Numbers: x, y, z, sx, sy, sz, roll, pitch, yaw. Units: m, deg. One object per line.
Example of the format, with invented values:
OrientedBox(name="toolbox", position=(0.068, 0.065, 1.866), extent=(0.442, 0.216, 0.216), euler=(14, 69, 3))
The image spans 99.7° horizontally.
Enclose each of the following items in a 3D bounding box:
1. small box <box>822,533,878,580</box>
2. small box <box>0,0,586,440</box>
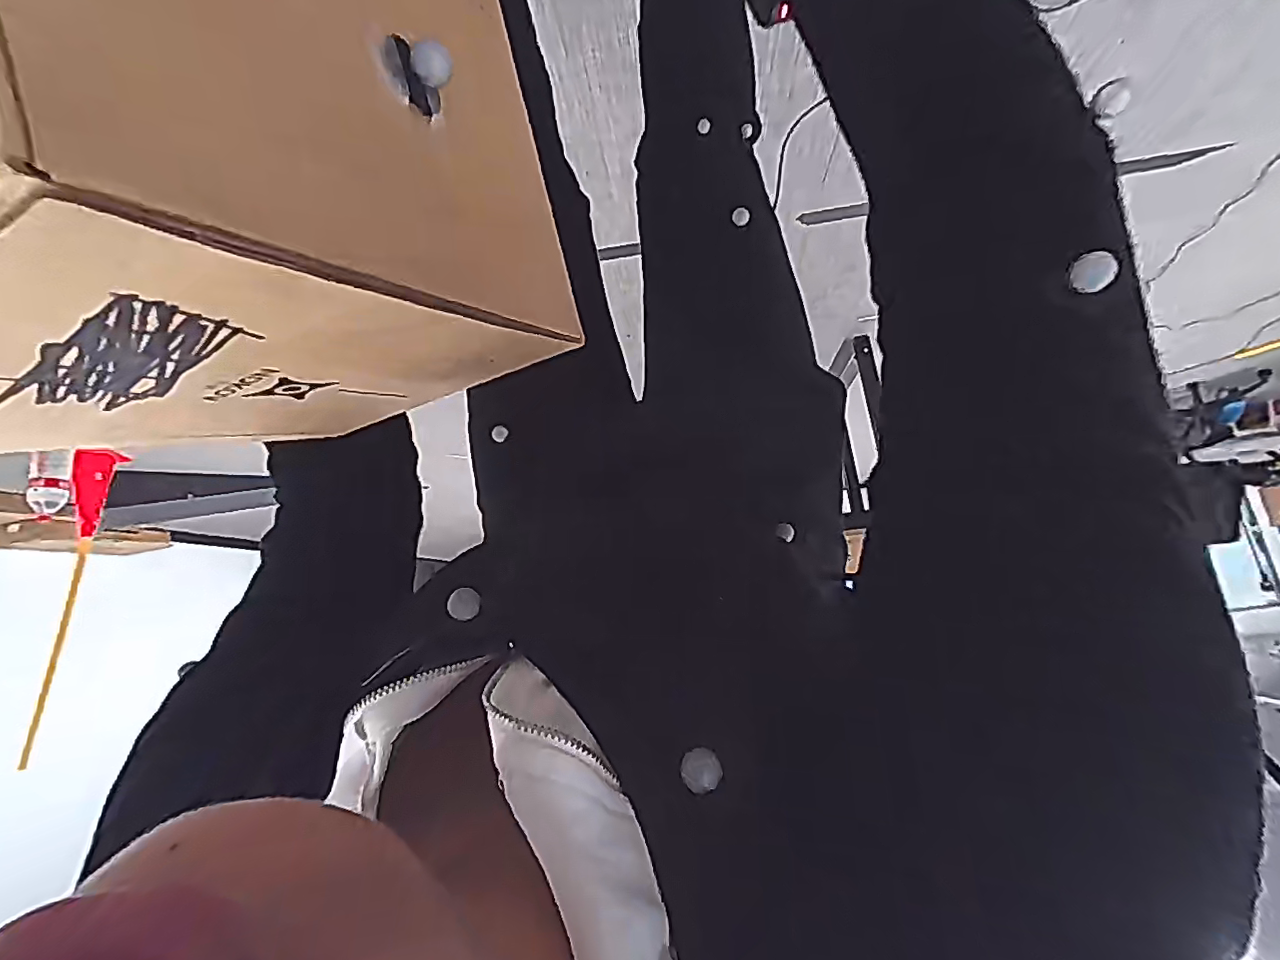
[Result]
OrientedBox(name="small box", position=(0.858, 0.314, 2.225), extent=(0.168, 0.176, 0.179), euler=(-8, 168, 7))
OrientedBox(name="small box", position=(-0.146, -0.117, 0.192), extent=(0.168, 0.176, 0.179), euler=(-14, 180, 23))
